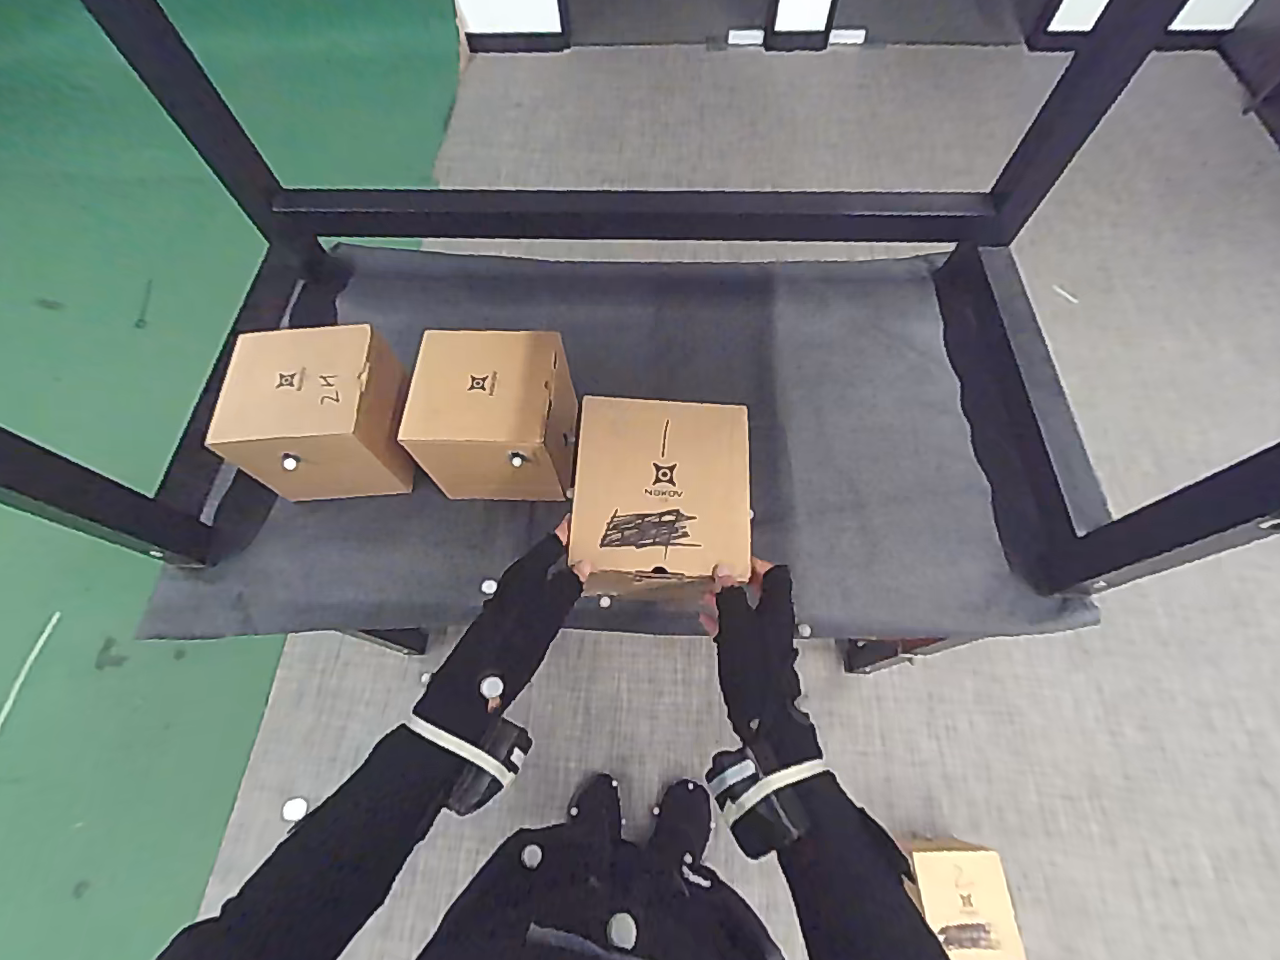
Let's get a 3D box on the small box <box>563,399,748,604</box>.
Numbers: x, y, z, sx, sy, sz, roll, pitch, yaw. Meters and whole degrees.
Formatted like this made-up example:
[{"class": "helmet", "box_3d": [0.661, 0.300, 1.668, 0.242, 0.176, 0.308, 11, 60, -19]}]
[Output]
[{"class": "small box", "box_3d": [0.017, 0.034, 0.577, 0.168, 0.176, 0.179, 4, 70, -1]}]
